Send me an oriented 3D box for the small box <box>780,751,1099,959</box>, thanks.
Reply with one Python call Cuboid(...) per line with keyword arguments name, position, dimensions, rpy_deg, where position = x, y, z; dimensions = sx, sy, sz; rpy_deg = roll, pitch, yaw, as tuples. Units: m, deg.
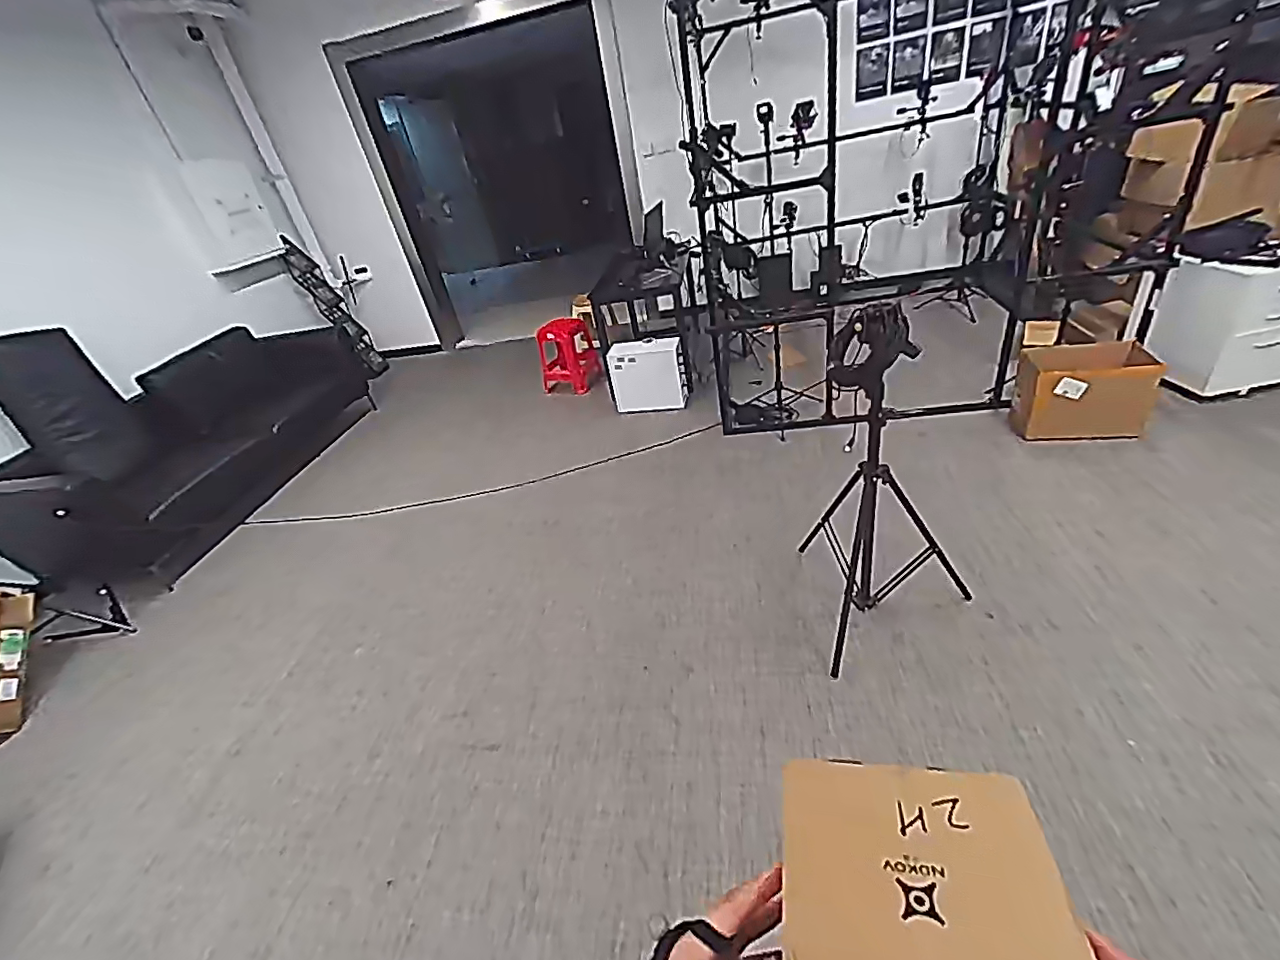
Cuboid(name="small box", position=(0.185, 0.320, 0.360), dimensions=(0.168, 0.176, 0.179), rpy_deg=(-2, 24, 17))
